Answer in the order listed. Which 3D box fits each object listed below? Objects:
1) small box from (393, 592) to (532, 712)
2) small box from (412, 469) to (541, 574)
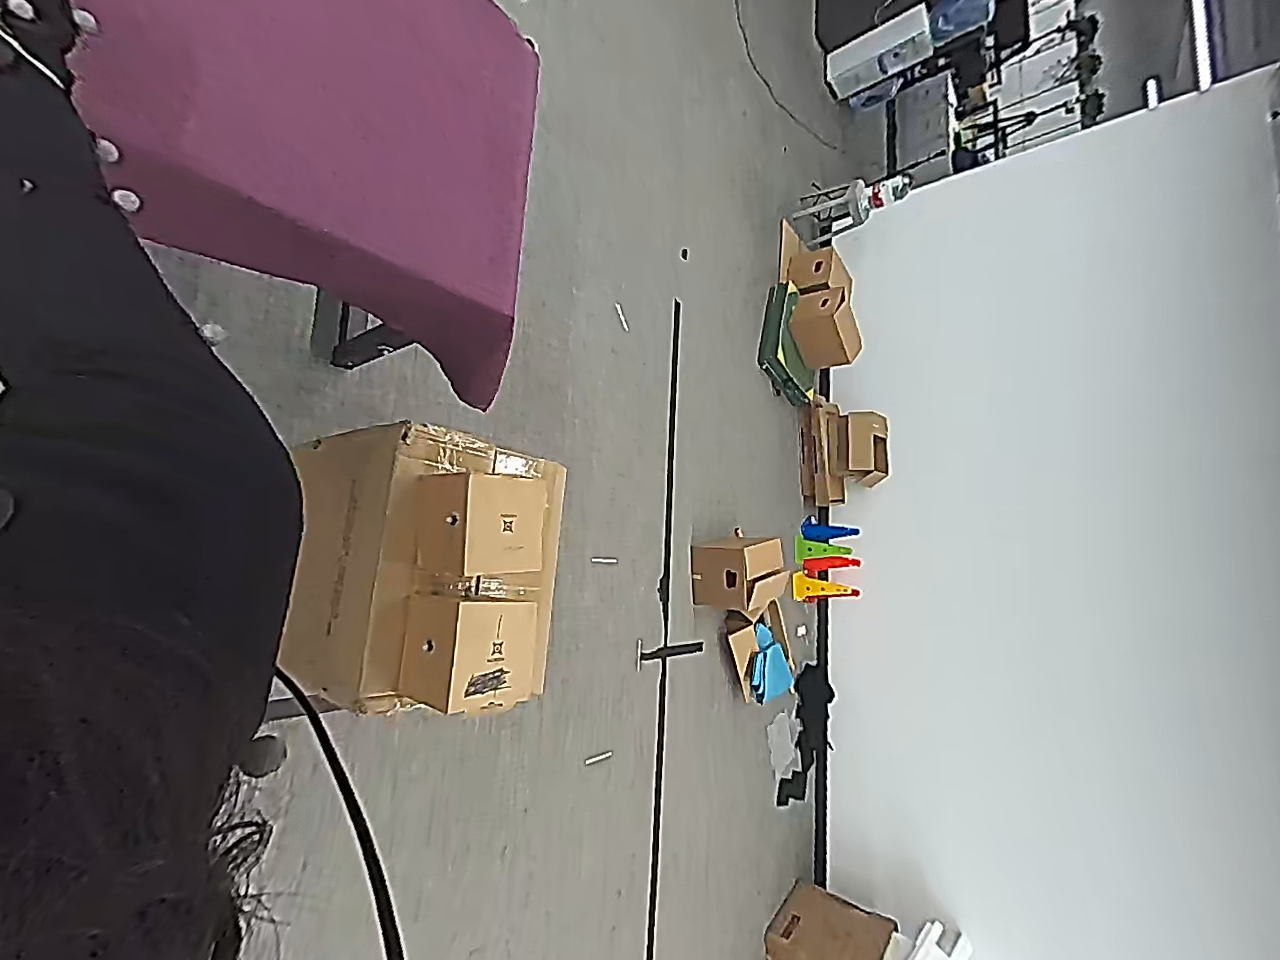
[{"bbox_3d":[-0.317,0.296,0.963,0.168,0.176,0.179,16,73,-49],"label":"small box"},{"bbox_3d":[-0.303,0.076,0.999,0.168,0.176,0.179,7,84,-49],"label":"small box"}]
